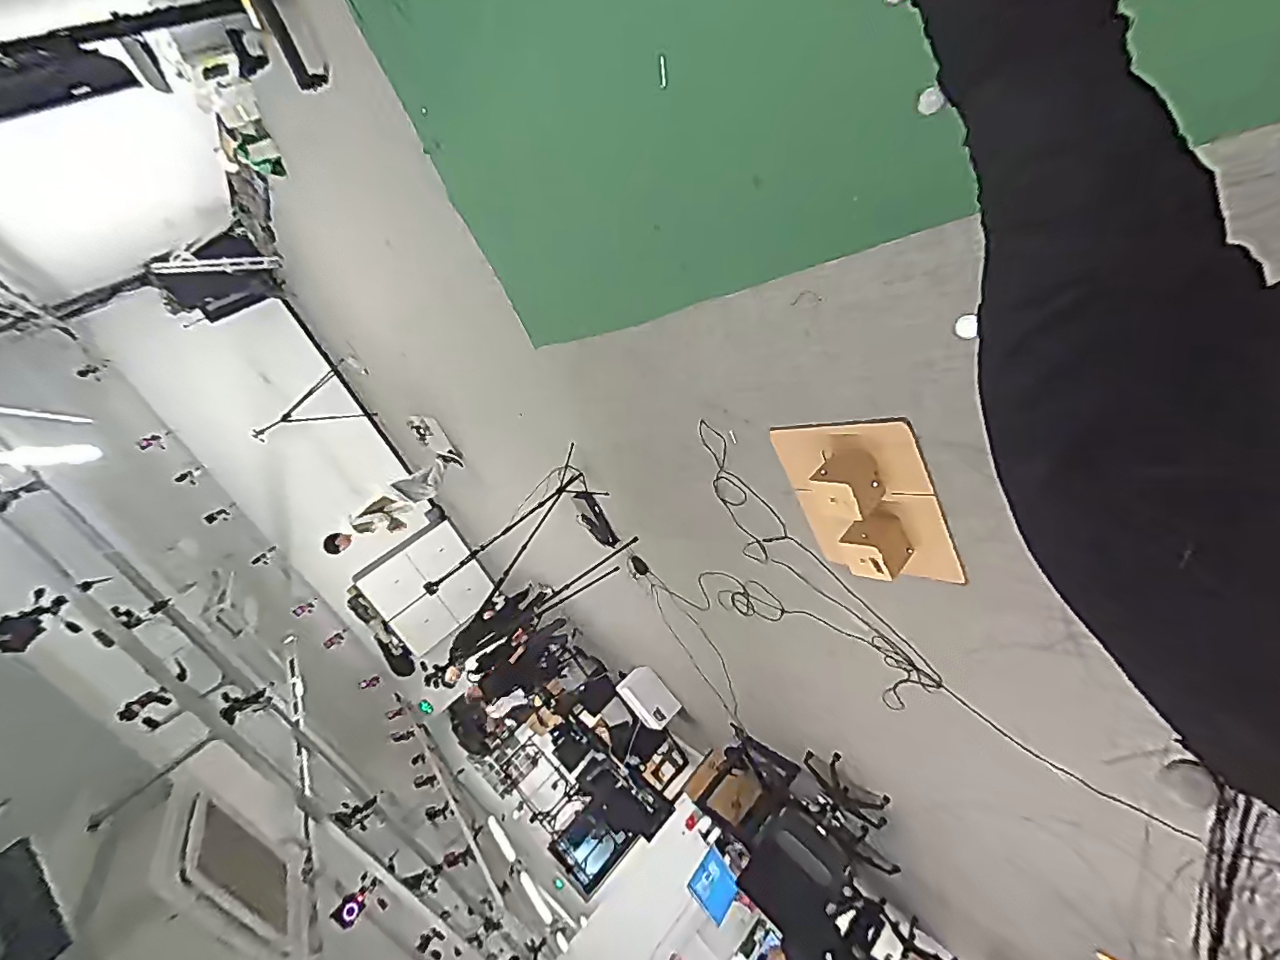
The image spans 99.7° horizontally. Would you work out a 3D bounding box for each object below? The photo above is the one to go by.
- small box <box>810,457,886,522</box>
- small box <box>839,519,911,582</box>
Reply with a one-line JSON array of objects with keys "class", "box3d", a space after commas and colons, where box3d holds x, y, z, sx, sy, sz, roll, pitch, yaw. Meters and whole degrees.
[{"class": "small box", "box3d": [0.758, 0.029, 1.968, 0.179, 0.176, 0.168, 7, 132, 54]}, {"class": "small box", "box3d": [0.896, 0.261, 2.044, 0.179, 0.176, 0.168, 0, 125, 58]}]
